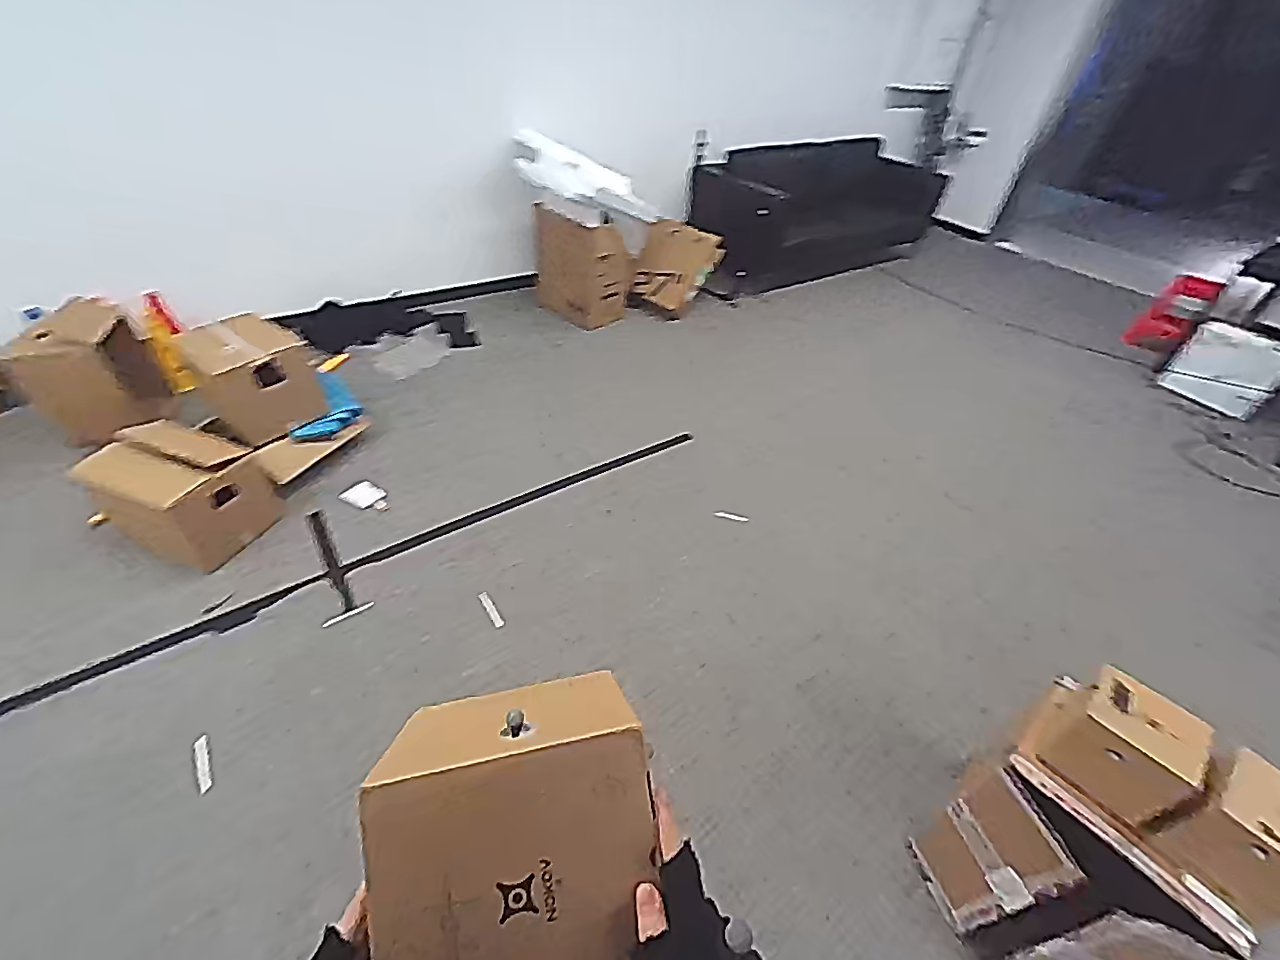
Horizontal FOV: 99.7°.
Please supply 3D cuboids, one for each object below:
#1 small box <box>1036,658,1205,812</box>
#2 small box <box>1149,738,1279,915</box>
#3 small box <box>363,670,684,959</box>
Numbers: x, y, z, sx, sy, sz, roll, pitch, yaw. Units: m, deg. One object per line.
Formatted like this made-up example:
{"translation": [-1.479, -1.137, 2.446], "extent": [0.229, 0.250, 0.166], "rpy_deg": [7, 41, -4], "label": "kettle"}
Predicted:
{"translation": [0.913, 0.490, 1.041], "extent": [0.168, 0.176, 0.179], "rpy_deg": [-28, 50, -35], "label": "small box"}
{"translation": [1.044, 0.596, 0.936], "extent": [0.179, 0.176, 0.168], "rpy_deg": [-25, 51, -33], "label": "small box"}
{"translation": [-0.081, 0.252, 0.403], "extent": [0.179, 0.176, 0.168], "rpy_deg": [-8, 82, -10], "label": "small box"}
